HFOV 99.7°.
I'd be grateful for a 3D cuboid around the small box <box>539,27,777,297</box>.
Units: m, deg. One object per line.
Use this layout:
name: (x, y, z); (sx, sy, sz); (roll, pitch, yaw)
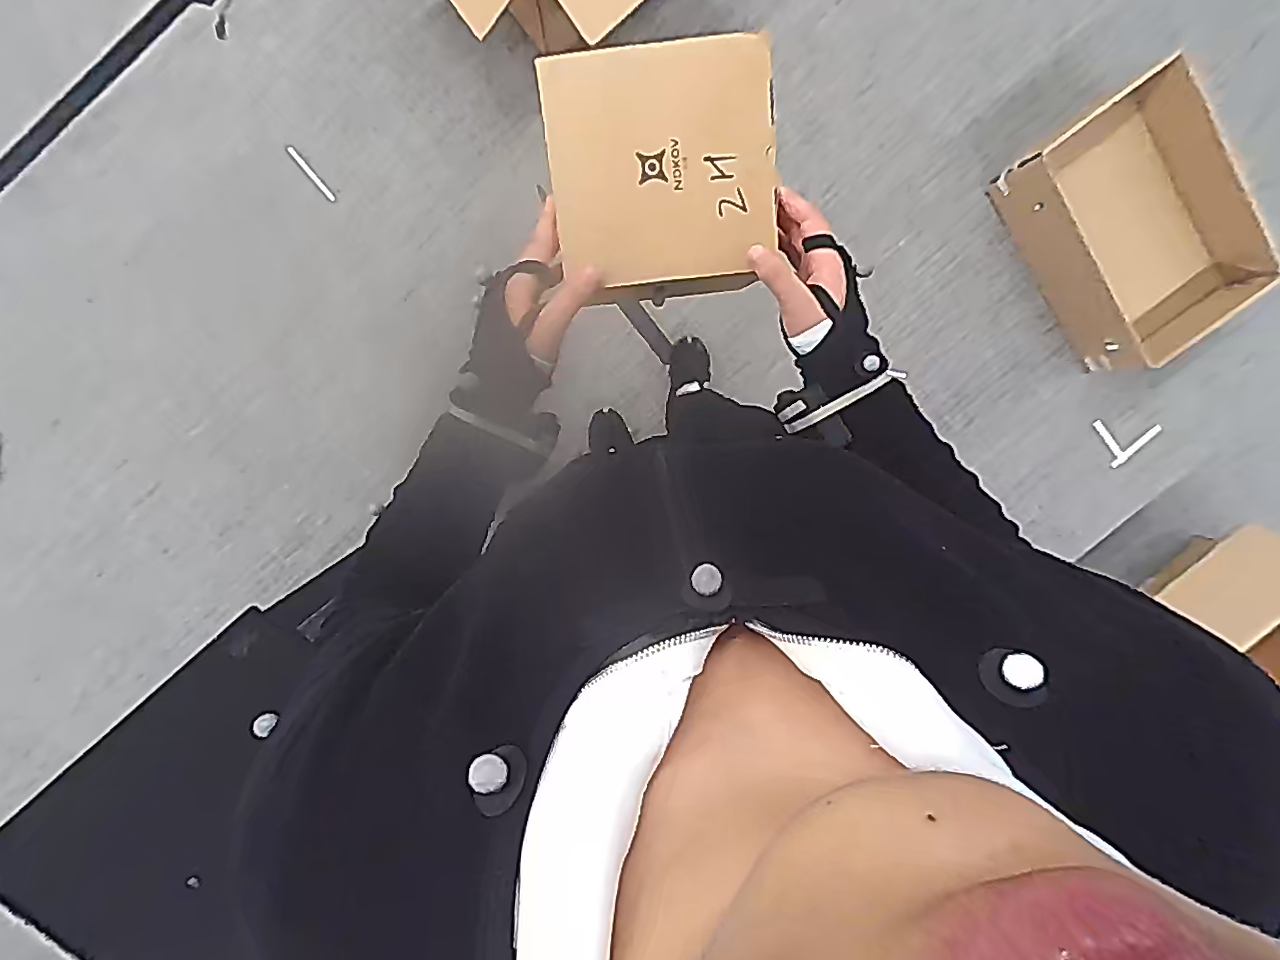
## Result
small box: (0.017, -0.268, 0.498); (0.179, 0.176, 0.168); (-6, 105, 0)
